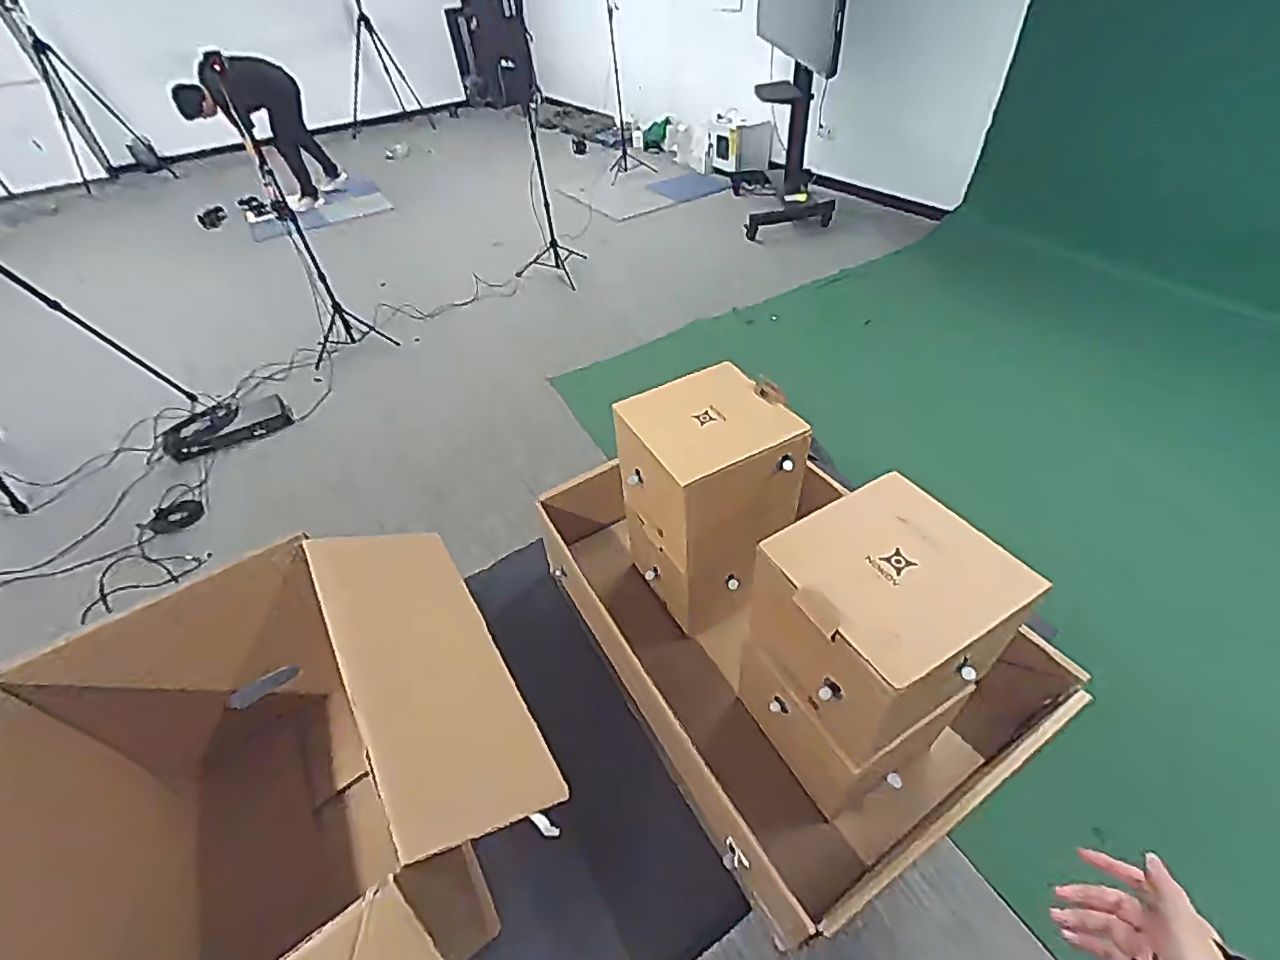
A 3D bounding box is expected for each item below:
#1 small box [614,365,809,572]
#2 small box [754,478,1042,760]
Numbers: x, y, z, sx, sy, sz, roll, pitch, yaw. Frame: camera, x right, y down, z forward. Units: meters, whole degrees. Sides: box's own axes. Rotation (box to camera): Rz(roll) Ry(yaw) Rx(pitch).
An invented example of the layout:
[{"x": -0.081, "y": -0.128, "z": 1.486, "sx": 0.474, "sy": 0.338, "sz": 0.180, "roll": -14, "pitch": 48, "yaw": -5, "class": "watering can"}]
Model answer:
[{"x": 0.086, "y": -0.013, "z": 0.690, "sx": 0.179, "sy": 0.176, "sz": 0.168, "roll": -23, "pitch": 49, "yaw": -17, "class": "small box"}, {"x": 0.227, "y": 0.135, "z": 0.528, "sx": 0.179, "sy": 0.176, "sz": 0.168, "roll": -25, "pitch": 48, "yaw": -17, "class": "small box"}]
